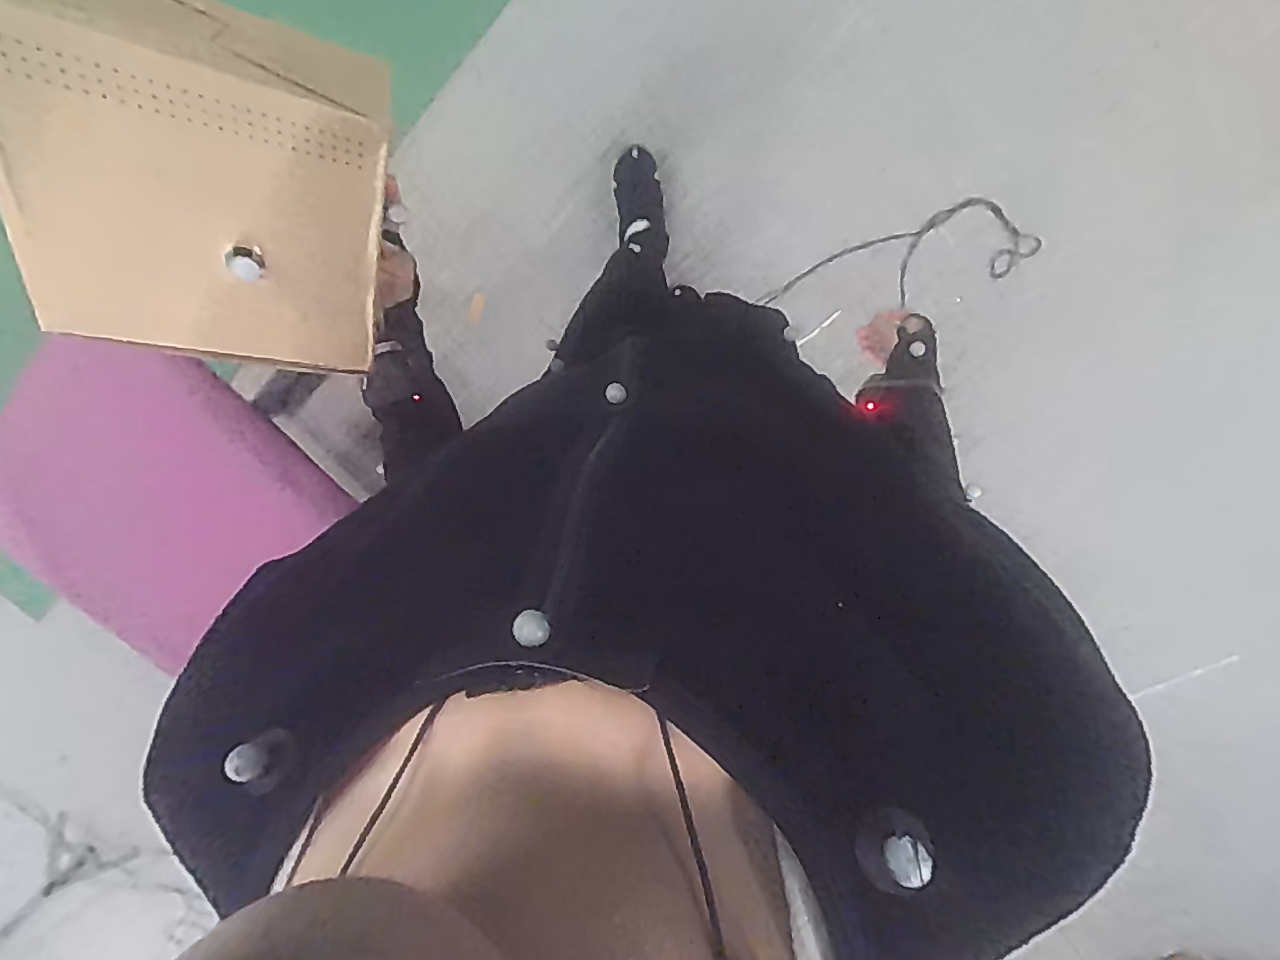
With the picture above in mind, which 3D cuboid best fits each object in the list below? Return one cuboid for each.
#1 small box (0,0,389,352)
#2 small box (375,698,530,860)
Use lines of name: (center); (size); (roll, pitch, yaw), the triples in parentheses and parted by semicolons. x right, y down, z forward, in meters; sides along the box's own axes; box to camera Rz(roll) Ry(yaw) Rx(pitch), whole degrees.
small box: (-0.262, -0.209, 0.348); (0.179, 0.168, 0.176); (3, 133, -28)
small box: (-0.331, 0.541, 0.990); (0.179, 0.176, 0.168); (-38, 104, 21)
